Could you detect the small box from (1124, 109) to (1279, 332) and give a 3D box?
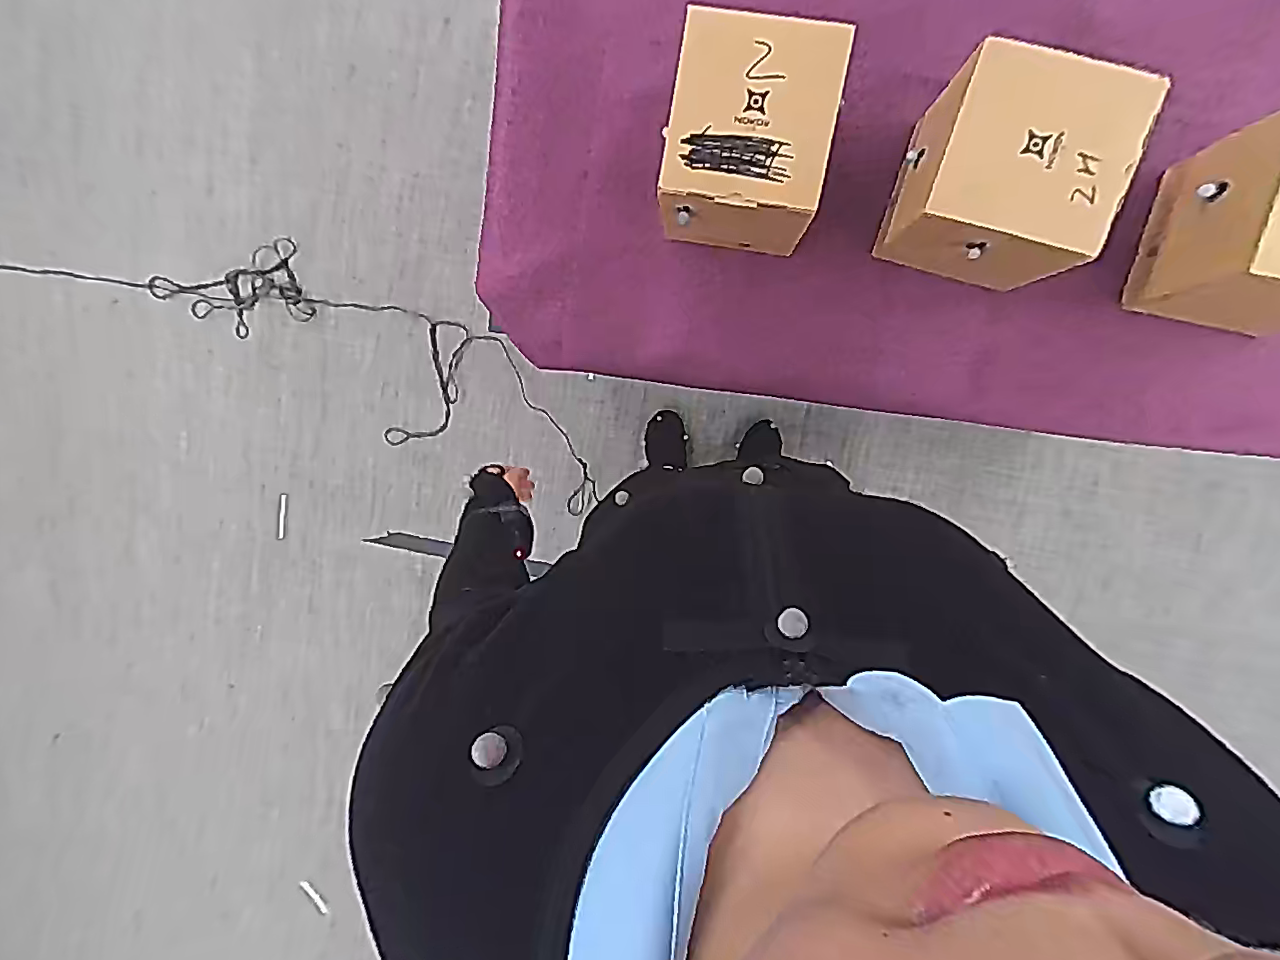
[{"bbox_3d":[0.686,-0.265,0.577,0.179,0.176,0.168,13,98,3],"label":"small box"}]

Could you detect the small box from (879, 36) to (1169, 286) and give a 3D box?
[{"bbox_3d":[0.394,-0.329,0.596,0.179,0.176,0.168,17,100,3],"label":"small box"}]
